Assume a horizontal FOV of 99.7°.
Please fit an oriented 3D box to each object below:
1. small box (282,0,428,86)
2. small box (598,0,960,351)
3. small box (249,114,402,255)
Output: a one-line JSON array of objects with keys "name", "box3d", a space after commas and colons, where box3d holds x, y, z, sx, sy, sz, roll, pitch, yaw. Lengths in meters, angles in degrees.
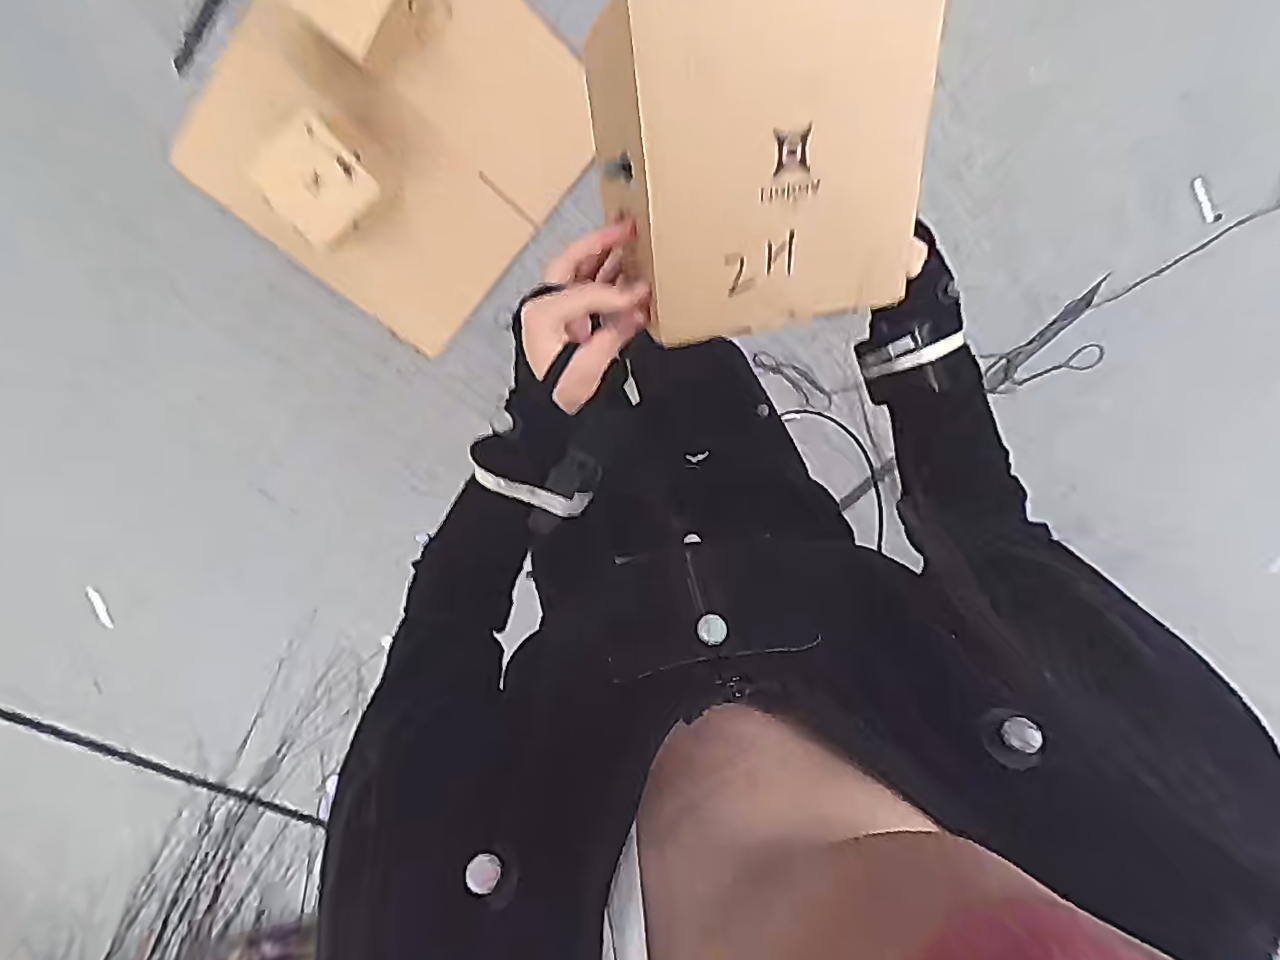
[{"name": "small box", "box3d": [-0.492, -0.843, 0.945, 0.168, 0.176, 0.179, 33, 107, -21]}, {"name": "small box", "box3d": [0.072, -0.207, 0.365, 0.168, 0.176, 0.179, -12, 123, -6]}, {"name": "small box", "box3d": [-0.600, -0.570, 1.059, 0.179, 0.176, 0.168, -37, 116, 11]}]
